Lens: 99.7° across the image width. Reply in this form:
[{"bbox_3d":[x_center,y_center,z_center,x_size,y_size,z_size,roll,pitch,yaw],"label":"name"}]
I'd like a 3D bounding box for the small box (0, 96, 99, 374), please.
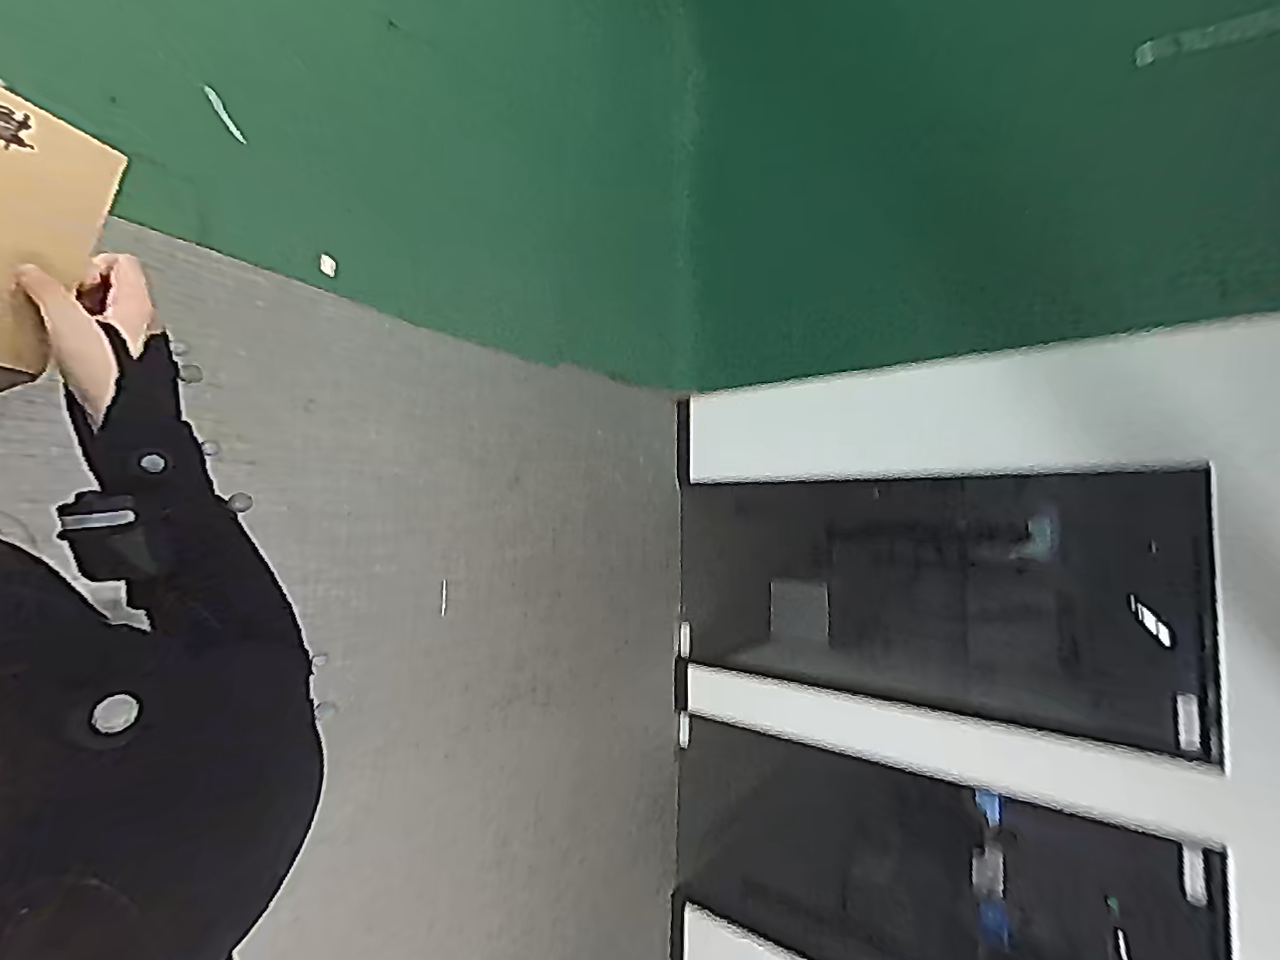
[{"bbox_3d":[-0.514,-0.179,0.359,0.168,0.176,0.179,22,77,-54],"label":"small box"}]
